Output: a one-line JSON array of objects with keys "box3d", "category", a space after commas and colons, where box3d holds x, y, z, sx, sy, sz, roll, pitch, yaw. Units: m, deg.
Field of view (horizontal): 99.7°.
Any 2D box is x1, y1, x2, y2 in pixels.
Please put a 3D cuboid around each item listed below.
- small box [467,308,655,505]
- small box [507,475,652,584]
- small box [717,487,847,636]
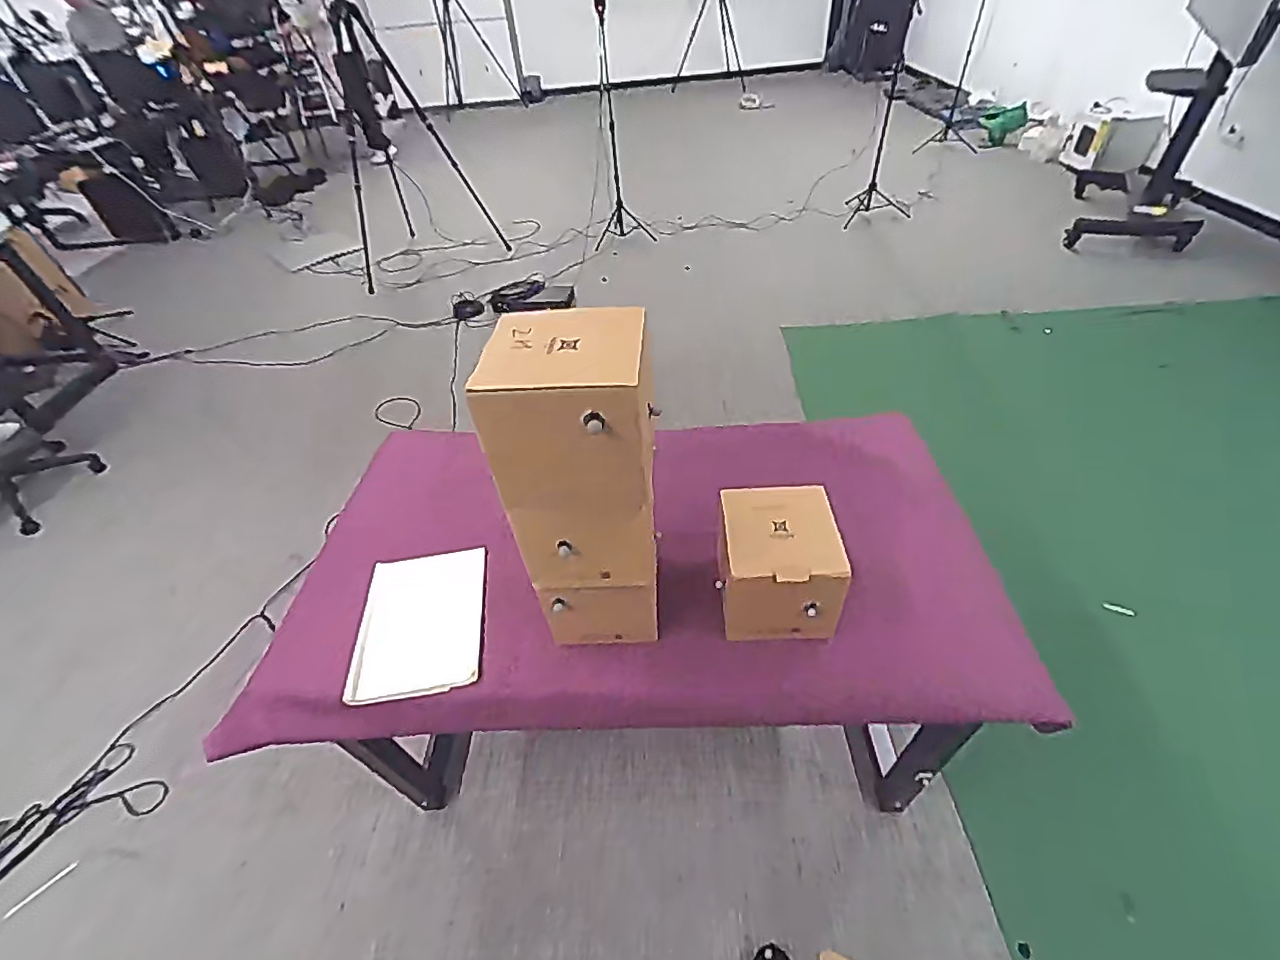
[{"box3d": [-0.074, -0.084, 0.634, 0.179, 0.176, 0.168, -1, 43, 6], "category": "small box"}, {"box3d": [-0.070, 0.032, 0.753, 0.168, 0.176, 0.179, -2, 43, 4], "category": "small box"}, {"box3d": [0.212, 0.133, 0.855, 0.168, 0.176, 0.179, -2, 43, 3], "category": "small box"}]
